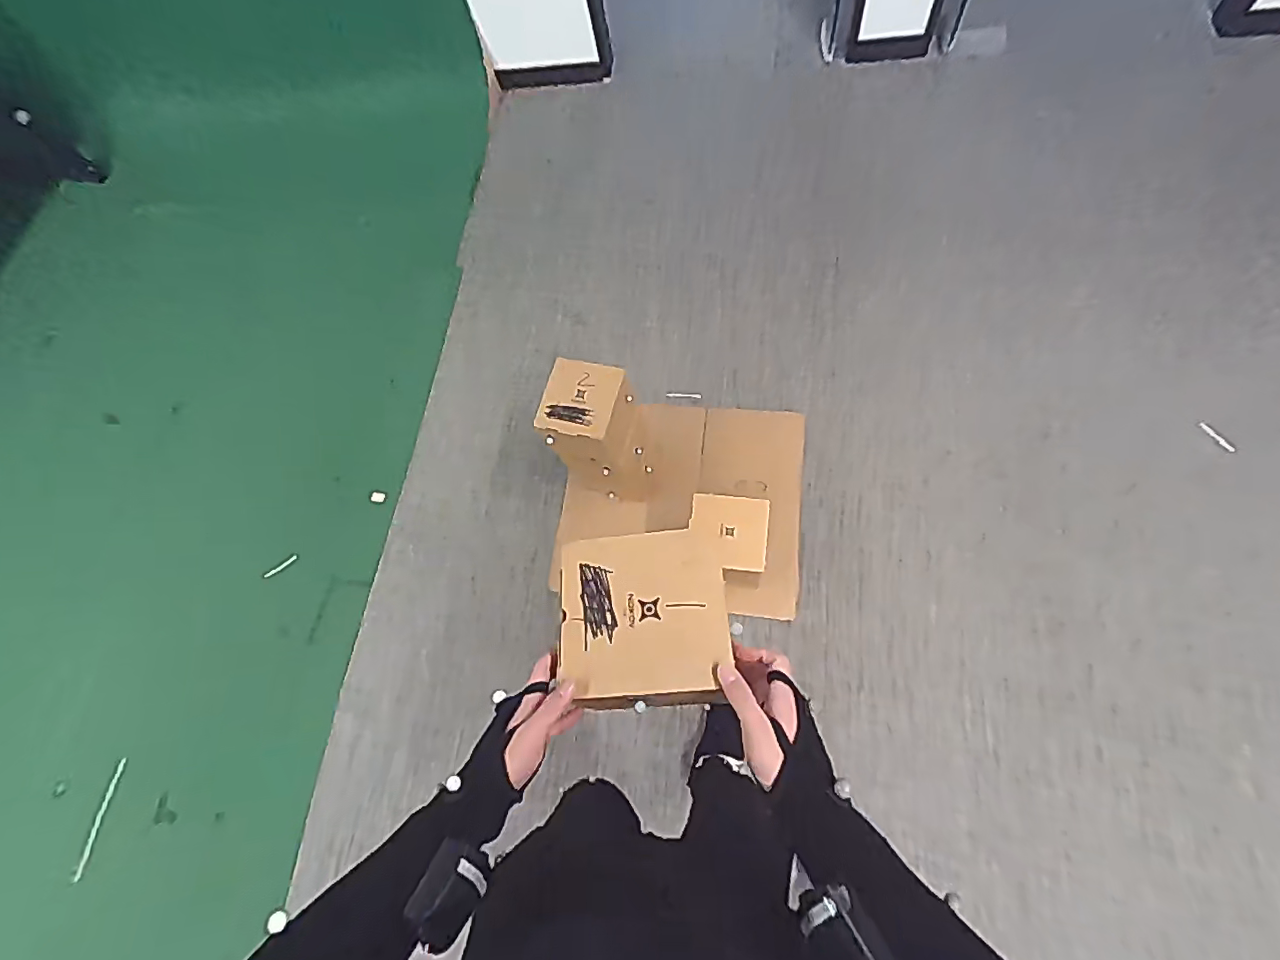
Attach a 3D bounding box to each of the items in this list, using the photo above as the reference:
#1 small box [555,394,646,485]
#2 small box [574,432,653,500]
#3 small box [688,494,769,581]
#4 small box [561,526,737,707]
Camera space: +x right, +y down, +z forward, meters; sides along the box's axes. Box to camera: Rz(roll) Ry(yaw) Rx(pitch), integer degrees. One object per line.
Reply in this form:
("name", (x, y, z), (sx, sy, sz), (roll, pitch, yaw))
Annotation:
("small box", (-0.093, -0.099, 1.401), (0.179, 0.176, 0.168), (13, 73, 13))
("small box", (-0.069, -0.052, 1.559), (0.179, 0.176, 0.168), (13, 73, 13))
("small box", (0.206, 0.141, 1.276), (0.179, 0.176, 0.168), (4, 73, 12))
("small box", (0.017, 0.166, 0.626), (0.179, 0.176, 0.168), (-6, 63, 6))
